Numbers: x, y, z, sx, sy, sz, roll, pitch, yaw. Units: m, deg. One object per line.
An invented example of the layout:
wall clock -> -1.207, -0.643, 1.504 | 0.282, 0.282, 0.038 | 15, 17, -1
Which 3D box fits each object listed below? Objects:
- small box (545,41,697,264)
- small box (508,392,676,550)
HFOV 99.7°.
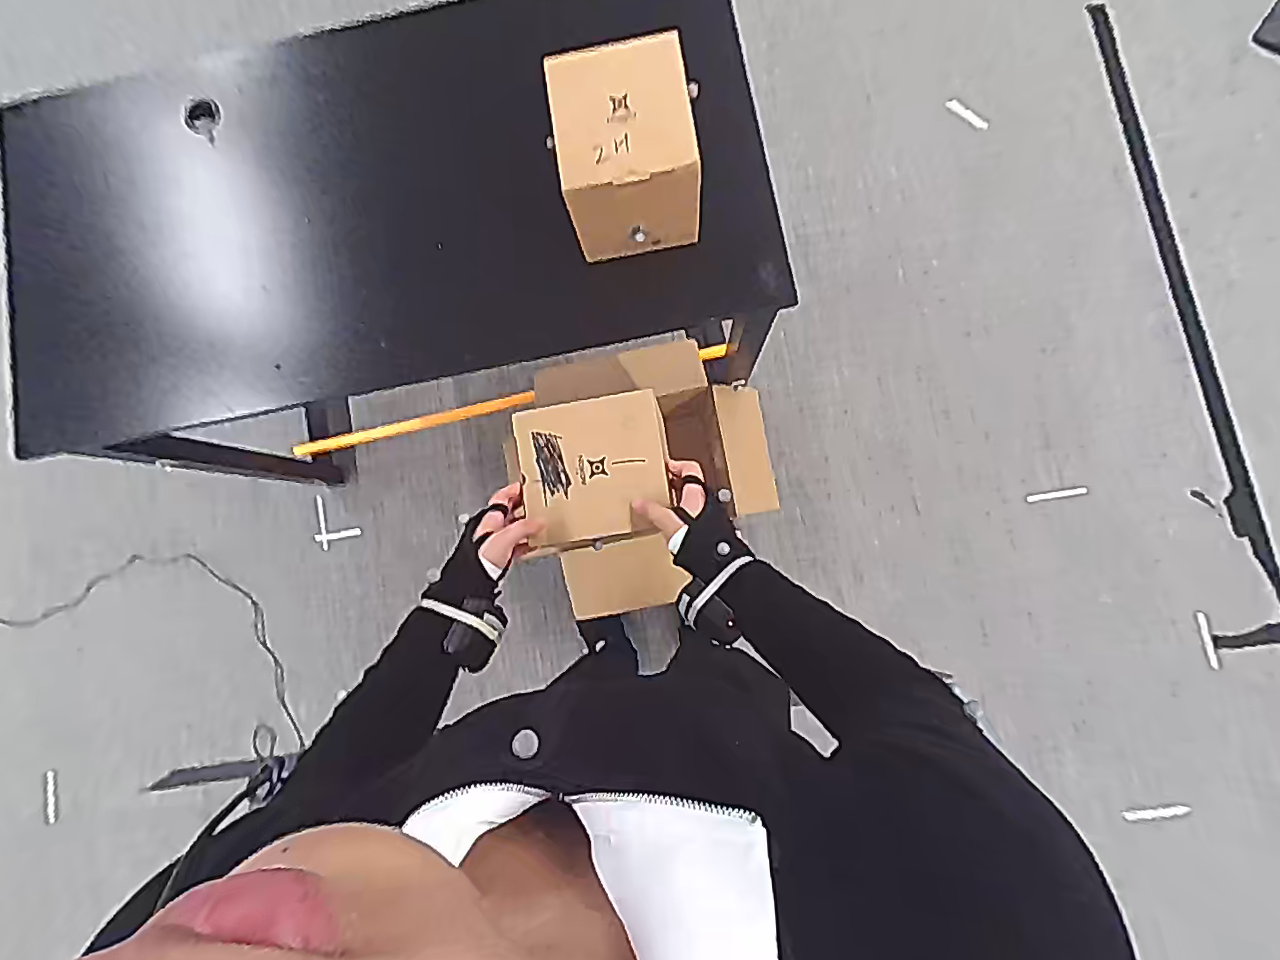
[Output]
small box -> -0.020, -0.420, 0.720 | 0.168, 0.176, 0.179 | -9, 83, 4
small box -> -0.053, 0.000, 0.706 | 0.179, 0.176, 0.168 | -10, 83, 5
